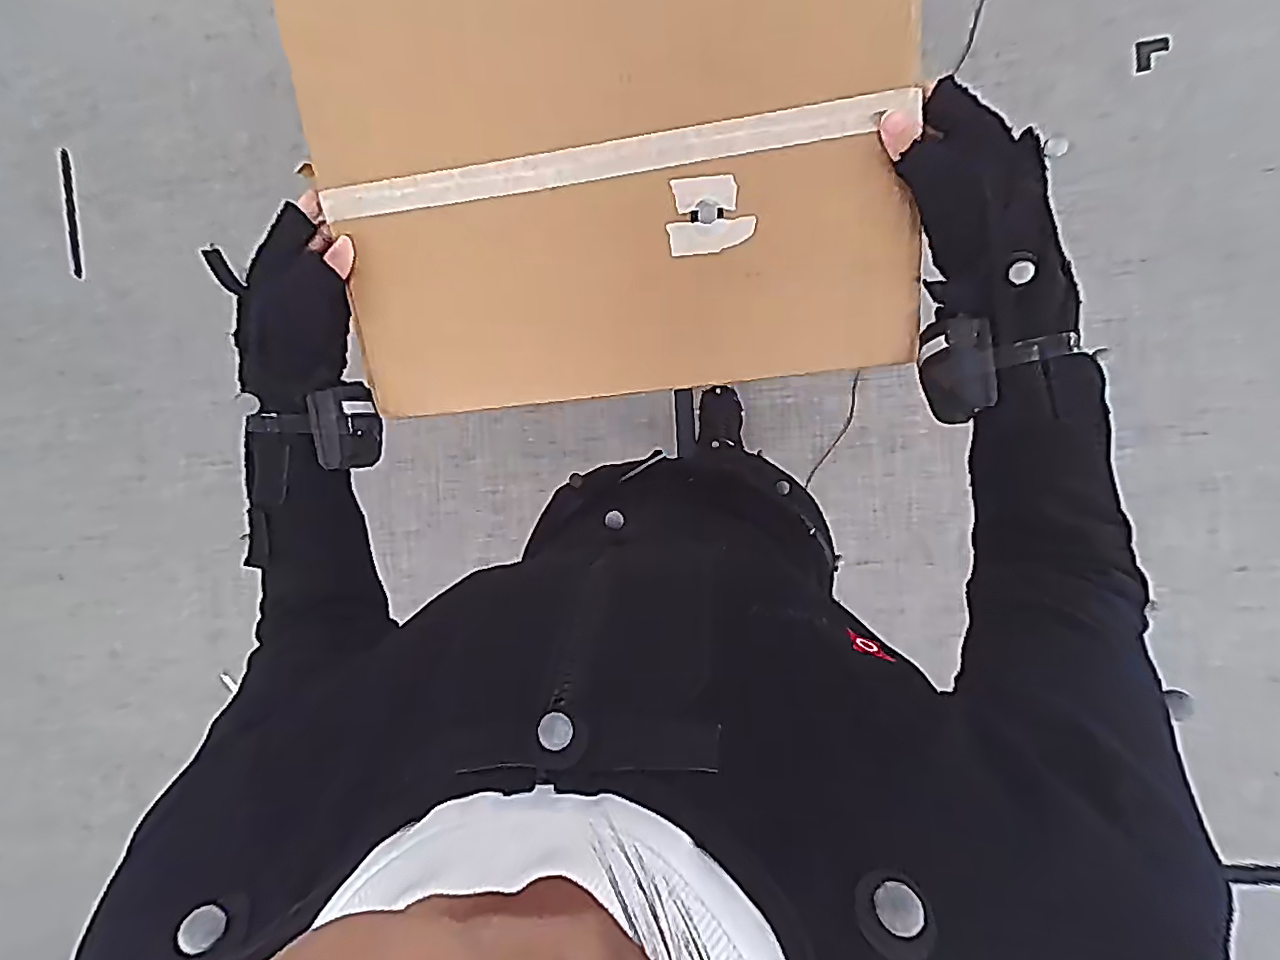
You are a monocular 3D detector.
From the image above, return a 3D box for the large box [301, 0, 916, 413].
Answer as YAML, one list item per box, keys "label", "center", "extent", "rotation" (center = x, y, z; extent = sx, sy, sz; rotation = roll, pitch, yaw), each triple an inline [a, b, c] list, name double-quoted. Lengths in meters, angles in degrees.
- label: "large box"
  center: [-0.006, -0.260, 0.520]
  extent: [0.408, 0.320, 0.320]
  rotation: [-6, 105, 6]
